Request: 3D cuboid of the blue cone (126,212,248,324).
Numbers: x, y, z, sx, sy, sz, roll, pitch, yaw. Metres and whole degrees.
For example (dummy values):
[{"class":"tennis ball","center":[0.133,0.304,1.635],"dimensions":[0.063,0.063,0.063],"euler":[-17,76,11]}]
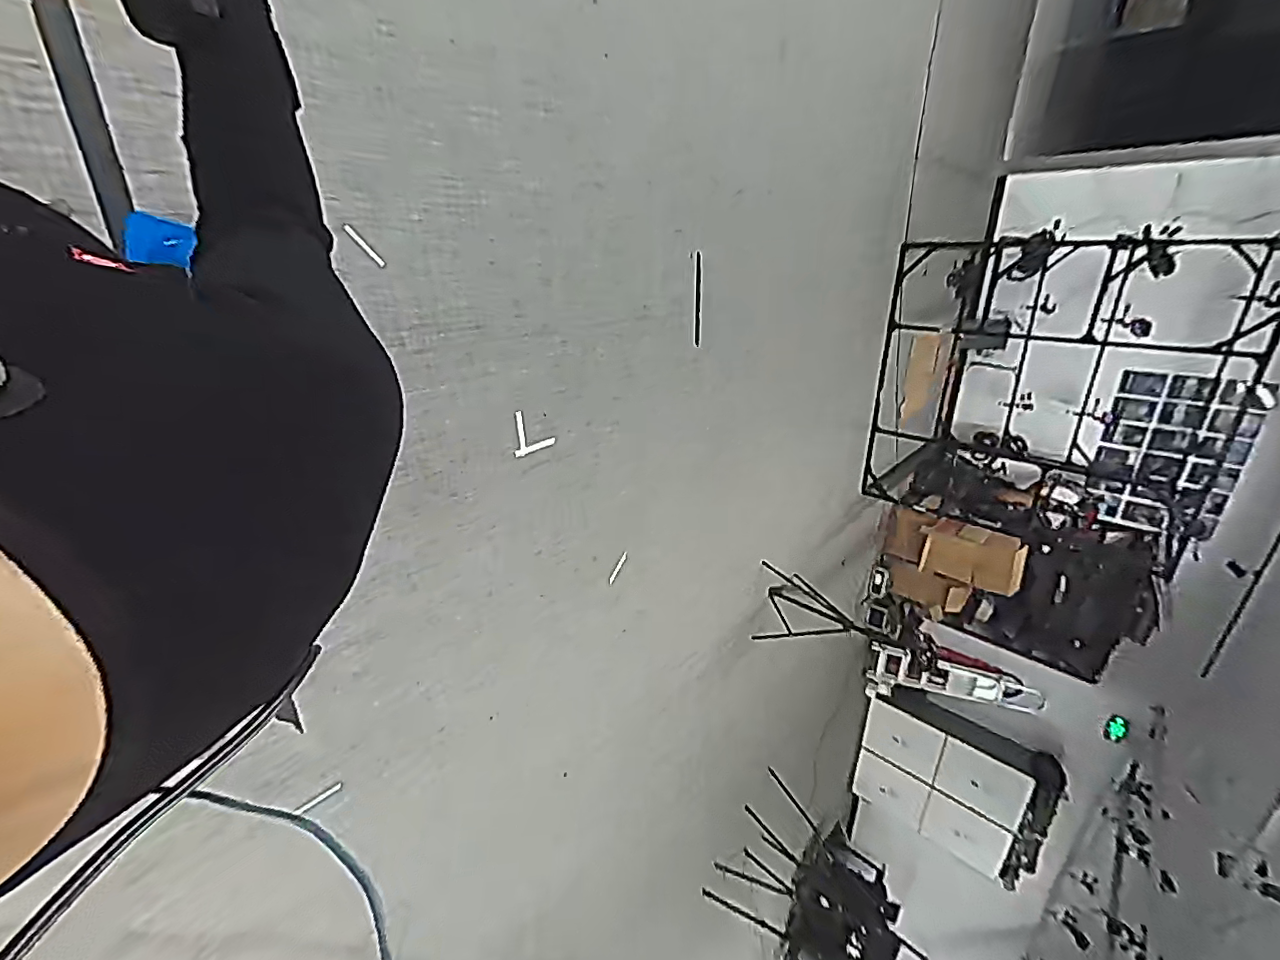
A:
[{"class":"blue cone","center":[-0.813,-0.389,1.018],"dimensions":[0.193,0.380,0.192],"euler":[4,101,-51]}]
